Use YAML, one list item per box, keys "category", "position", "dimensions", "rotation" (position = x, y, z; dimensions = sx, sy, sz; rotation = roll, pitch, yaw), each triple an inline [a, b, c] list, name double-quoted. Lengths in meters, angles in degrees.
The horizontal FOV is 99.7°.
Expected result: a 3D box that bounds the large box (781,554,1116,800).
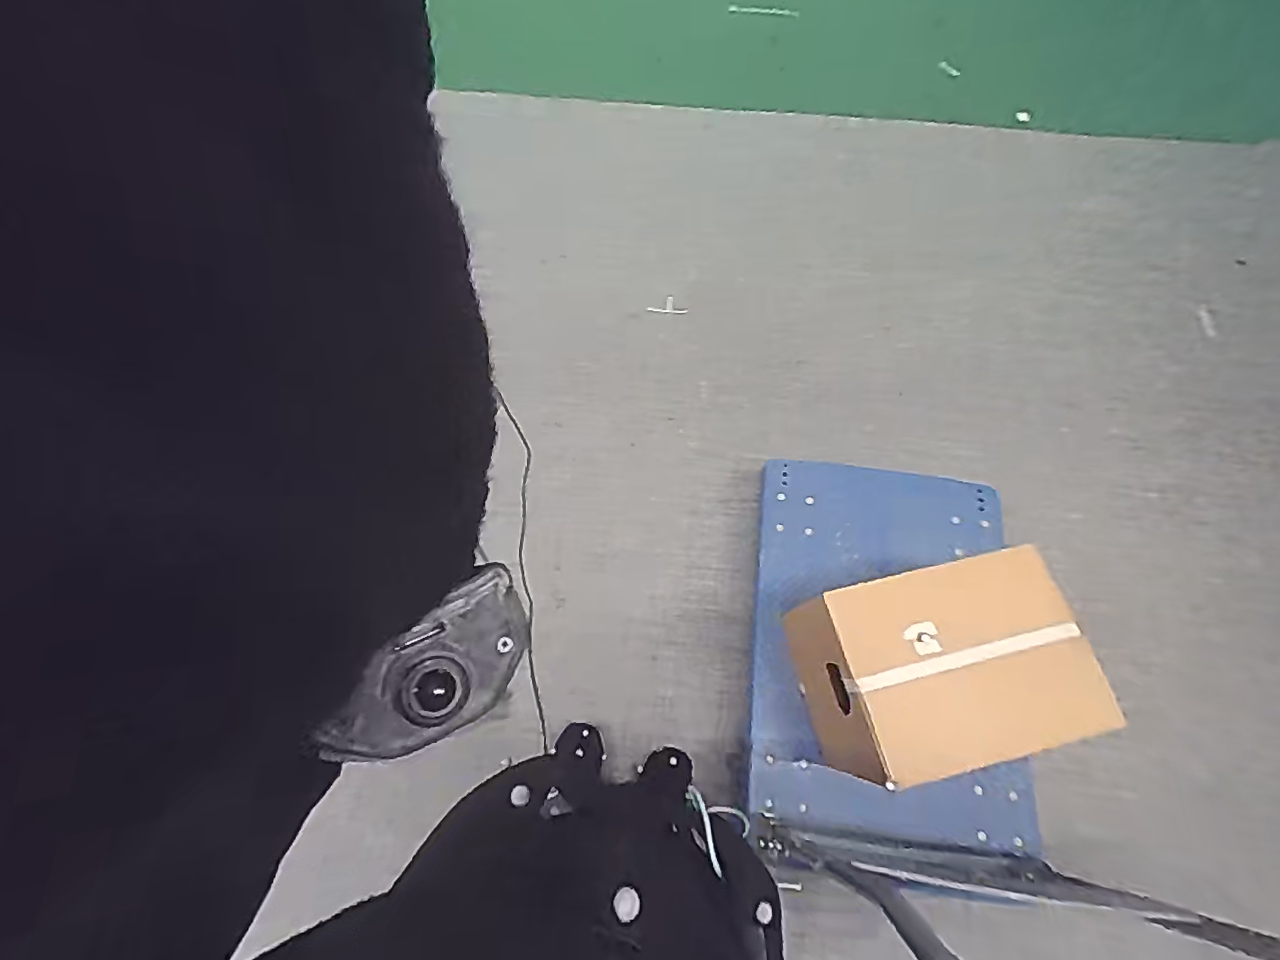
- category: "large box"
  position: [0.537, 0.363, 1.034]
  dimensions: [0.408, 0.320, 0.320]
  rotation: [-12, 68, -5]
